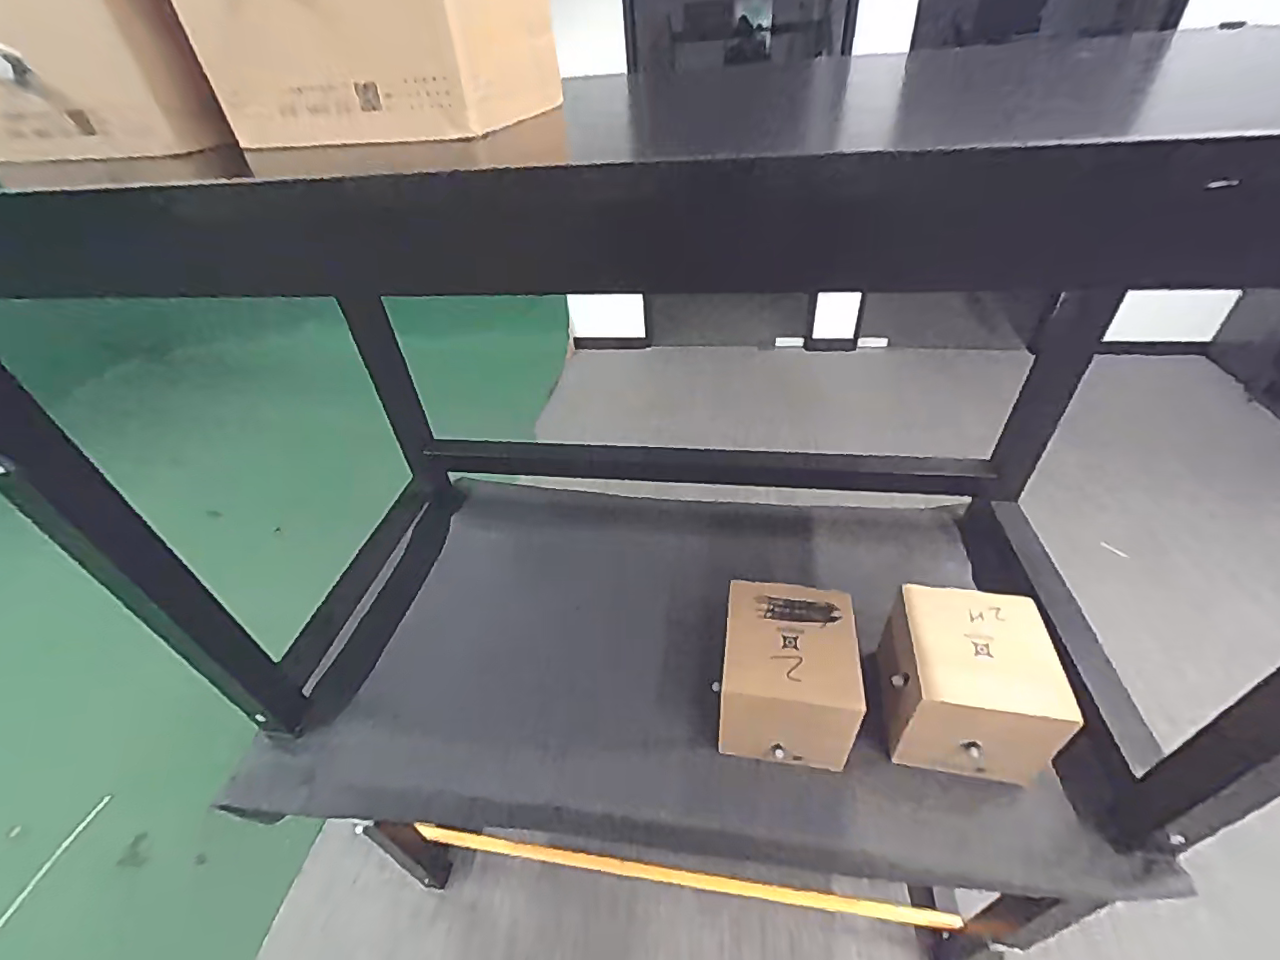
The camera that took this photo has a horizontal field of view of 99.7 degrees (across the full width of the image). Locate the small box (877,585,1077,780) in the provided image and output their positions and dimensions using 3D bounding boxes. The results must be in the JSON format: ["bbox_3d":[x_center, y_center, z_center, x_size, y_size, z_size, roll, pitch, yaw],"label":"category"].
[{"bbox_3d":[0.427,0.269,0.722,0.168,0.176,0.179,5,40,12],"label":"small box"}]

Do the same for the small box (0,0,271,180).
[{"bbox_3d":[-0.361,-0.322,0.378,0.168,0.176,0.179,4,41,10],"label":"small box"}]

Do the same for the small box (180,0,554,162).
[{"bbox_3d":[-0.166,-0.314,0.351,0.168,0.176,0.179,4,40,11],"label":"small box"}]
